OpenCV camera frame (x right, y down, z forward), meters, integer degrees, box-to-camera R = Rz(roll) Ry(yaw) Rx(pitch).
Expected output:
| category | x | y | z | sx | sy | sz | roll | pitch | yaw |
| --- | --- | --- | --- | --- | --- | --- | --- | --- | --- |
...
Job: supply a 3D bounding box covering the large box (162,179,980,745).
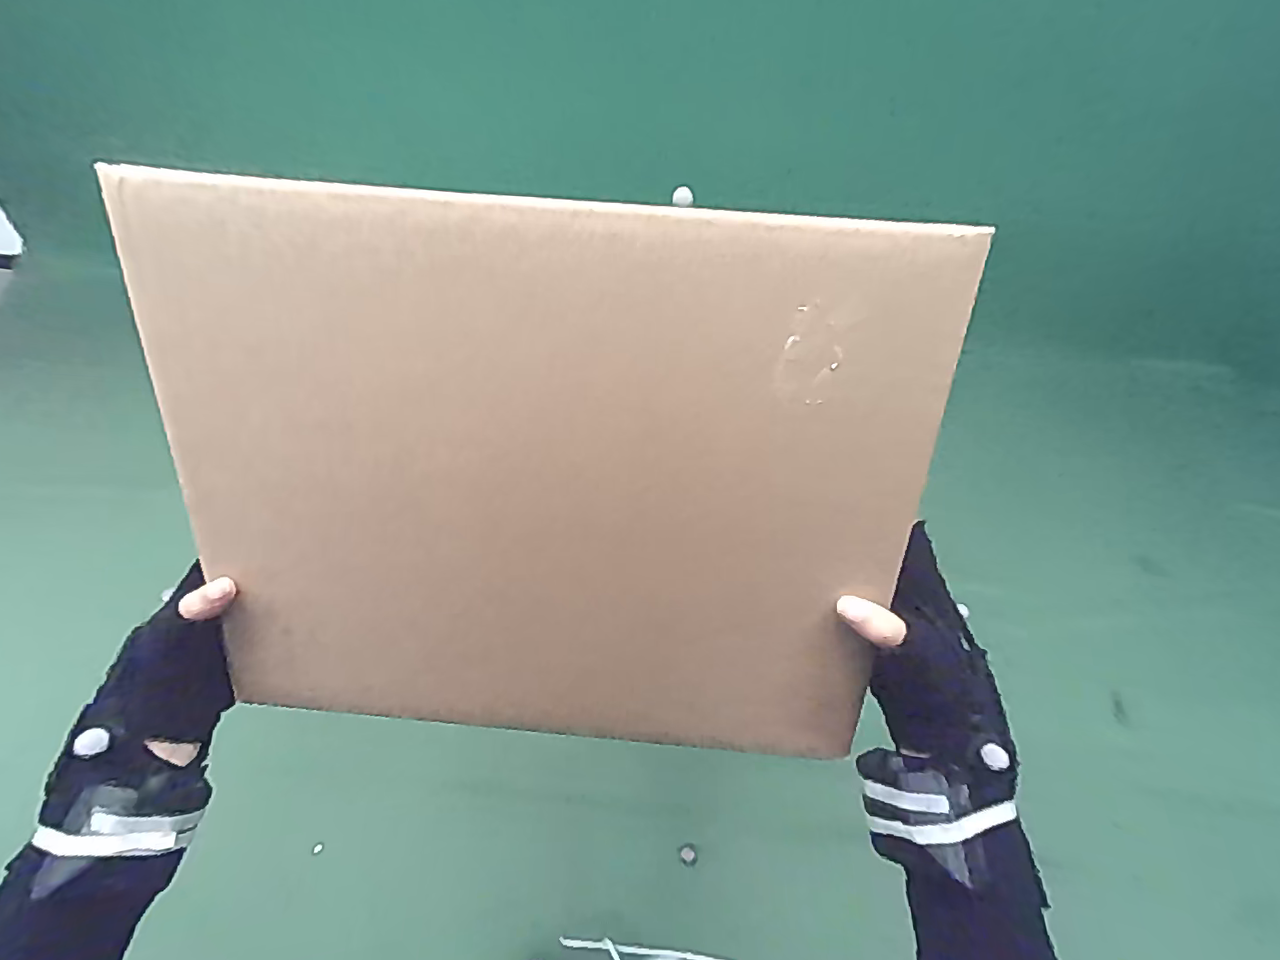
| category | x | y | z | sx | sy | sz | roll | pitch | yaw |
| --- | --- | --- | --- | --- | --- | --- | --- | --- | --- |
| large box | -0.042 | -0.031 | 0.445 | 0.408 | 0.320 | 0.320 | 6 | 21 | 1 |
